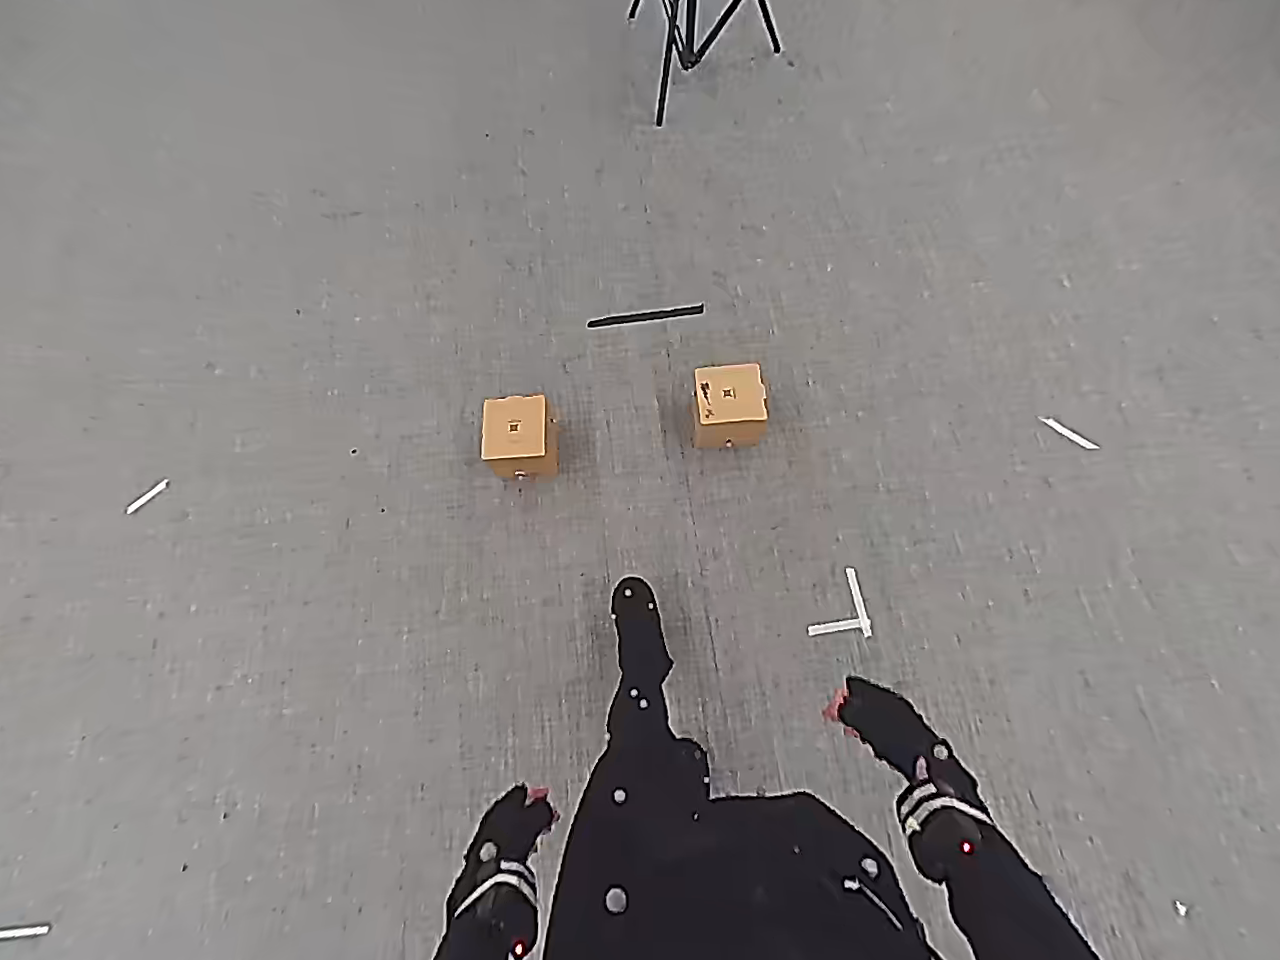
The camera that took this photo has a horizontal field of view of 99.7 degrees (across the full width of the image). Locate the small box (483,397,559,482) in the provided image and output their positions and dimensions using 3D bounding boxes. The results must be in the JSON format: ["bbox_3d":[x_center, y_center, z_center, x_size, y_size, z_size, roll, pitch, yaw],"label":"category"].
[{"bbox_3d":[-0.320,-0.107,1.473,0.168,0.176,0.179,-4,72,2],"label":"small box"}]

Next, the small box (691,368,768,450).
[{"bbox_3d":[0.238,-0.191,1.481,0.179,0.176,0.168,-4,71,0],"label":"small box"}]
